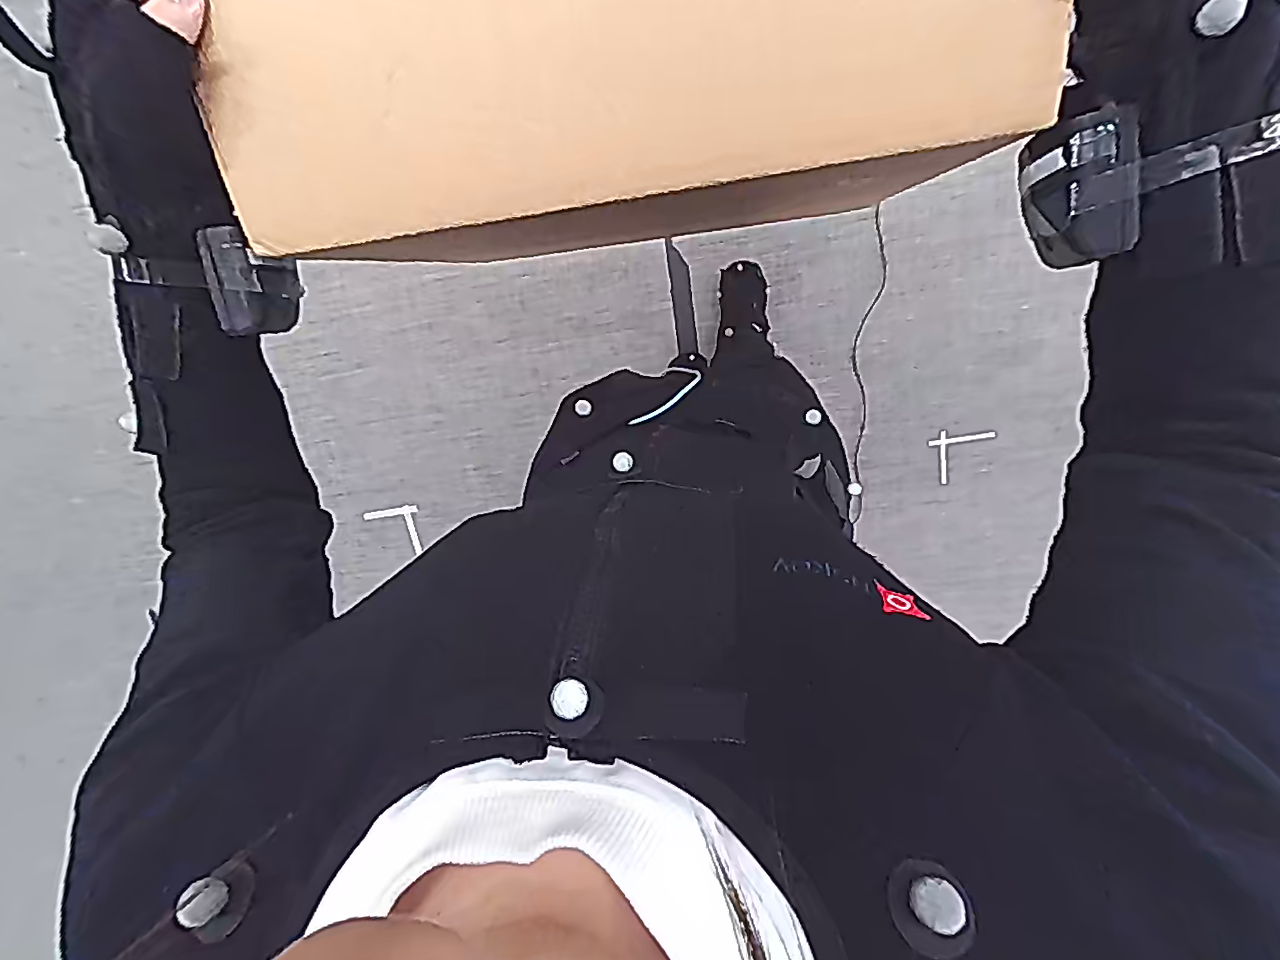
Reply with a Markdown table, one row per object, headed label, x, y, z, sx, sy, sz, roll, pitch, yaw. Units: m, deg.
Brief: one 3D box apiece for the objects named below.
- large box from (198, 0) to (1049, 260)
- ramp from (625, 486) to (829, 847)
| label | x | y | z | sx | sy | sz | roll | pitch | yaw |
| --- | --- | --- | --- | --- | --- | --- | --- | --- | --- |
| large box | -0.016 | -0.348 | 0.368 | 0.408 | 0.320 | 0.320 | -5 | 111 | 9 |
| ramp | 0.236 | 0.526 | 1.487 | 0.509 | 0.206 | 0.991 | -6 | 104 | 10 |
